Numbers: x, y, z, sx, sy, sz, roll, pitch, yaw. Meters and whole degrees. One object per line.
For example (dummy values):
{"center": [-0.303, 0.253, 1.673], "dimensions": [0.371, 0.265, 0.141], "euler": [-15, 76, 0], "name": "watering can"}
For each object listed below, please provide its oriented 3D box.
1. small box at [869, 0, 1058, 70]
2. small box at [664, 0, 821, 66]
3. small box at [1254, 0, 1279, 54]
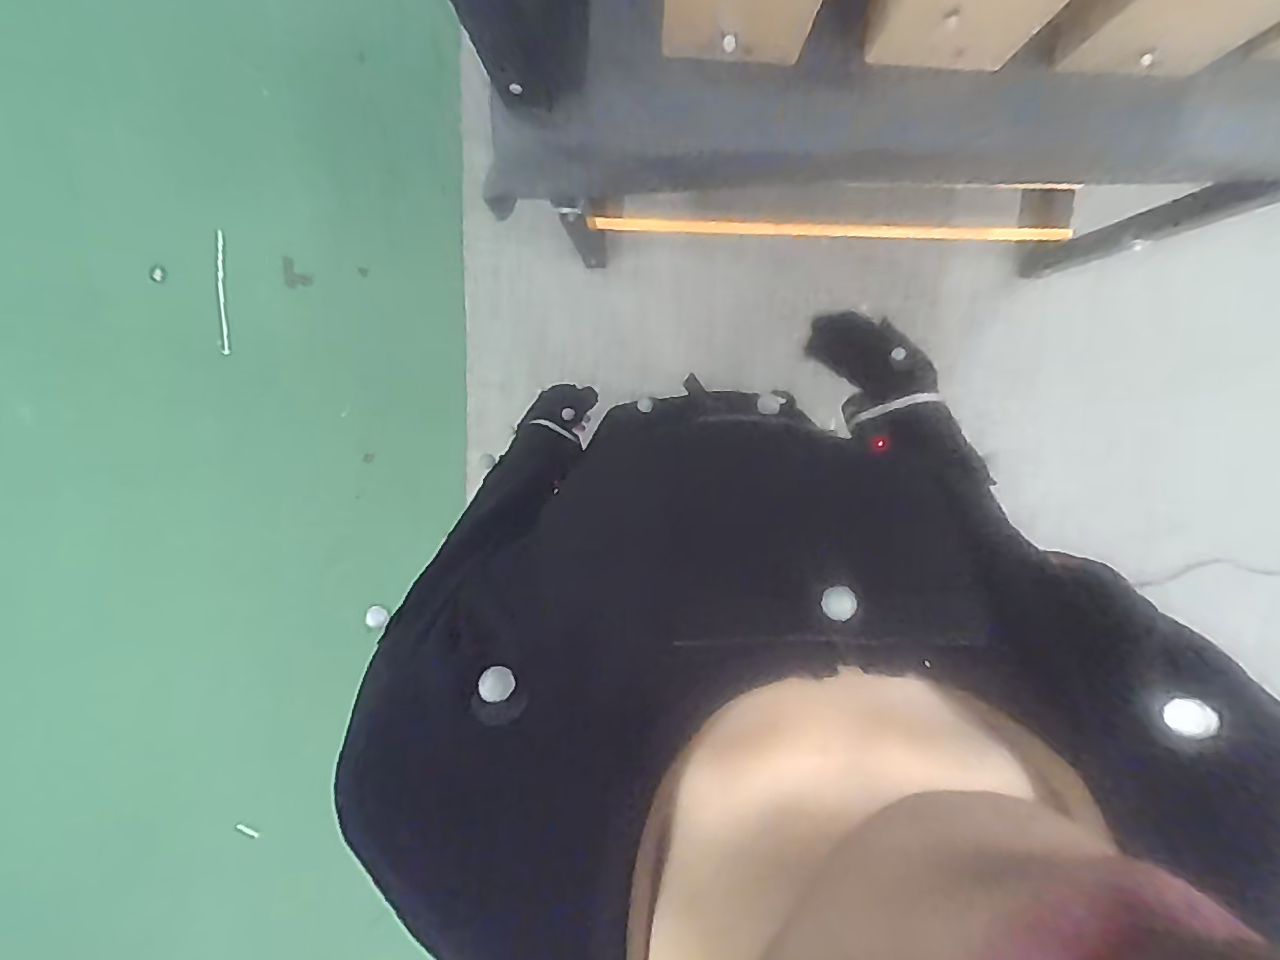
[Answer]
{"center": [0.360, -0.577, 0.572], "dimensions": [0.168, 0.176, 0.179], "euler": [4, 98, 1], "name": "small box"}
{"center": [0.115, -0.592, 0.577], "dimensions": [0.168, 0.176, 0.179], "euler": [5, 99, 1], "name": "small box"}
{"center": [0.813, -0.569, 0.555], "dimensions": [0.168, 0.176, 0.179], "euler": [6, 97, 1], "name": "small box"}
